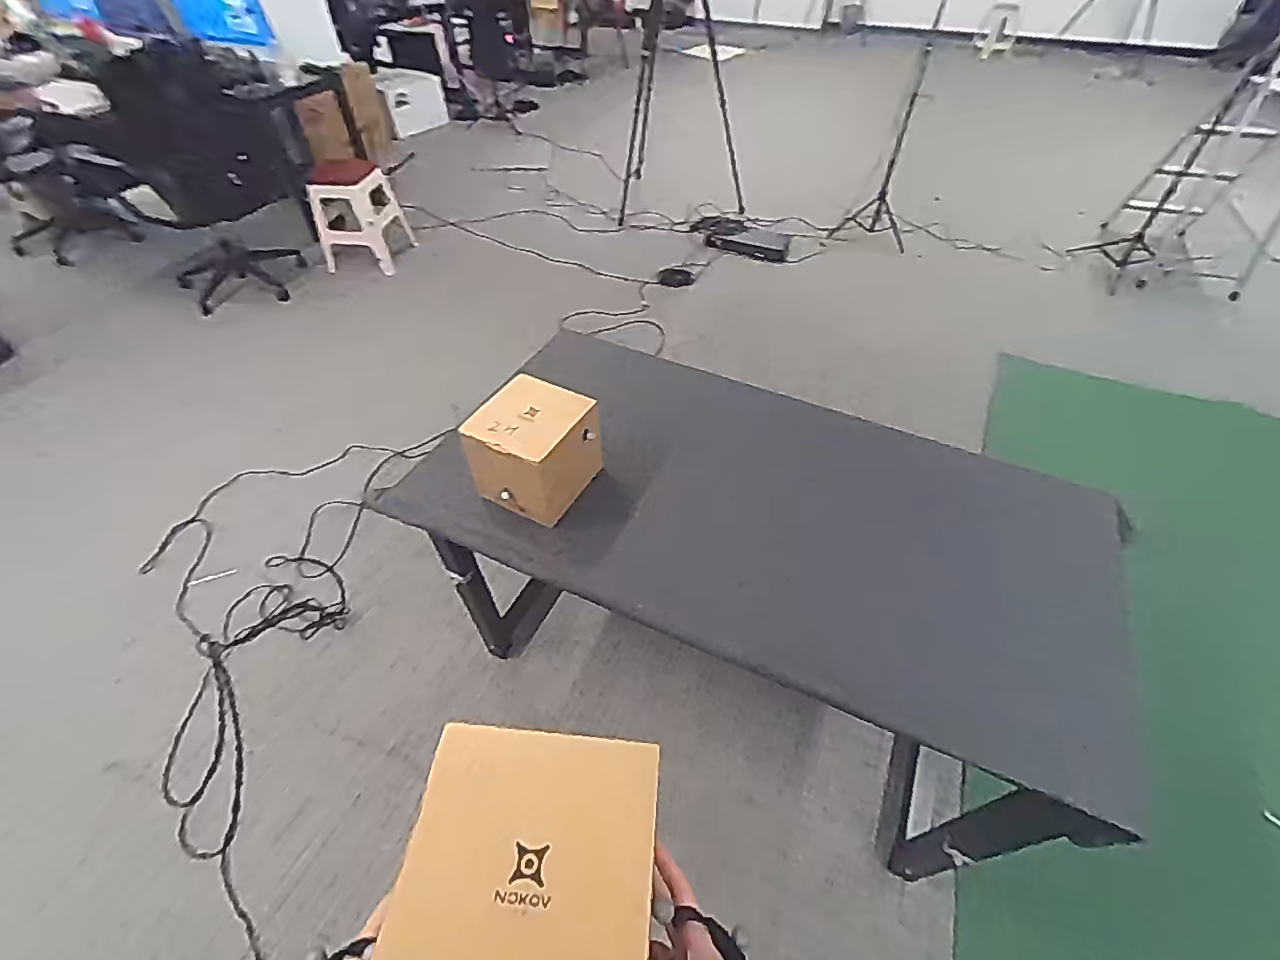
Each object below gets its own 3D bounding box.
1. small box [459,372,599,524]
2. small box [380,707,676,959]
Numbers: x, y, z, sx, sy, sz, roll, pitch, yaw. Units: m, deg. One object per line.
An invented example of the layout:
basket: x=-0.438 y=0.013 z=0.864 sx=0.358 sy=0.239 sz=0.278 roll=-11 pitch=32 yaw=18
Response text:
small box: x=-0.186 y=-0.056 z=0.956 sx=0.168 sy=0.176 sz=0.179 roll=23 pitch=51 yaw=18
small box: x=-0.070 y=0.298 z=0.405 sx=0.168 sy=0.176 sz=0.179 roll=8 pitch=47 yaw=0
